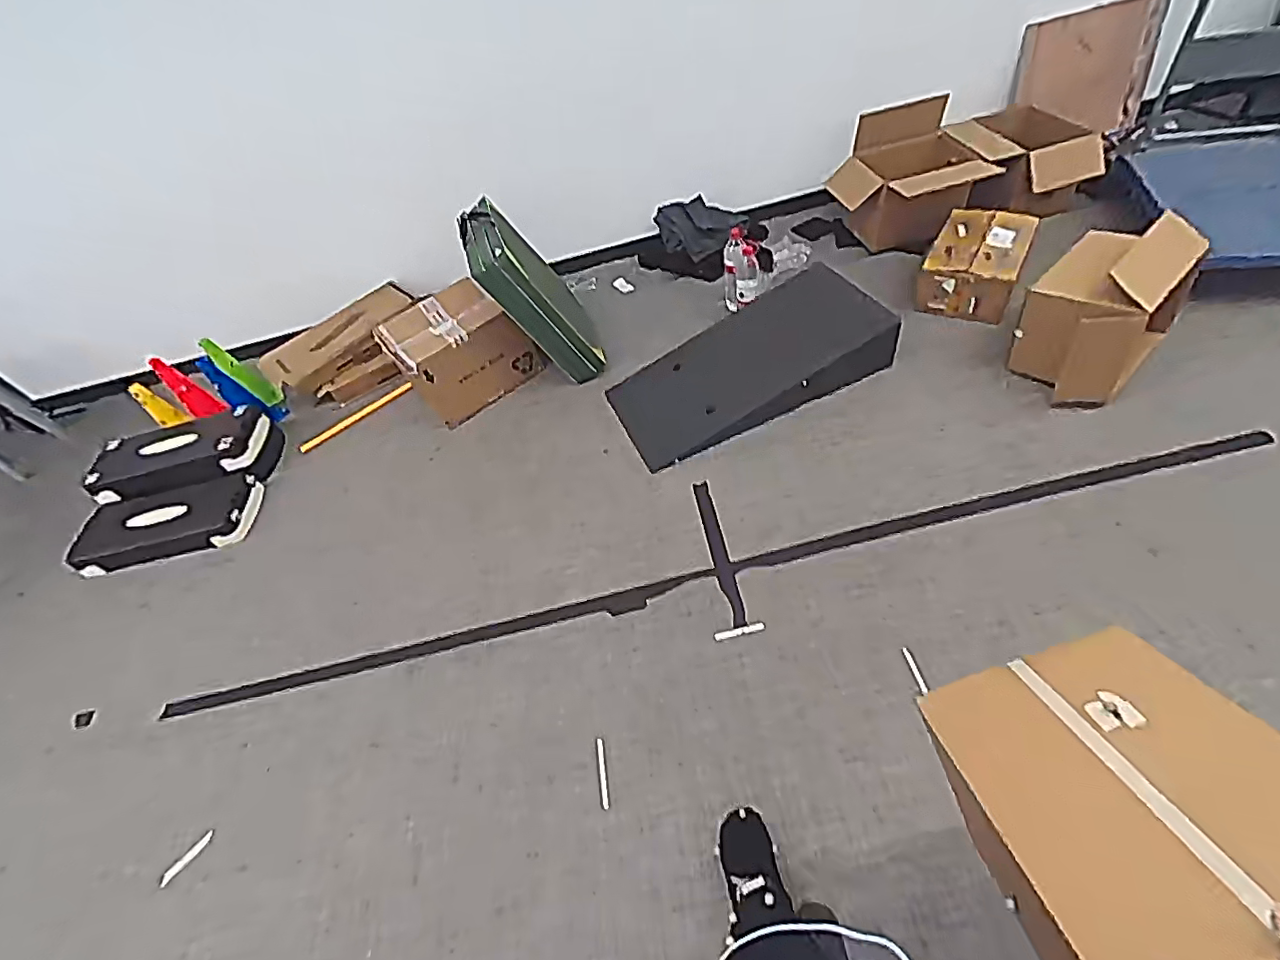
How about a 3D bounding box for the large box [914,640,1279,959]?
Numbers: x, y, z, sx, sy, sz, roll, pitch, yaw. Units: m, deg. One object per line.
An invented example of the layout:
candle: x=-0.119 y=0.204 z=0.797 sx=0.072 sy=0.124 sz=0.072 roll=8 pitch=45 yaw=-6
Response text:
large box: x=0.626 y=0.479 z=0.674 sx=0.320 sy=0.320 sz=0.408 roll=-23 pitch=12 yaw=9
